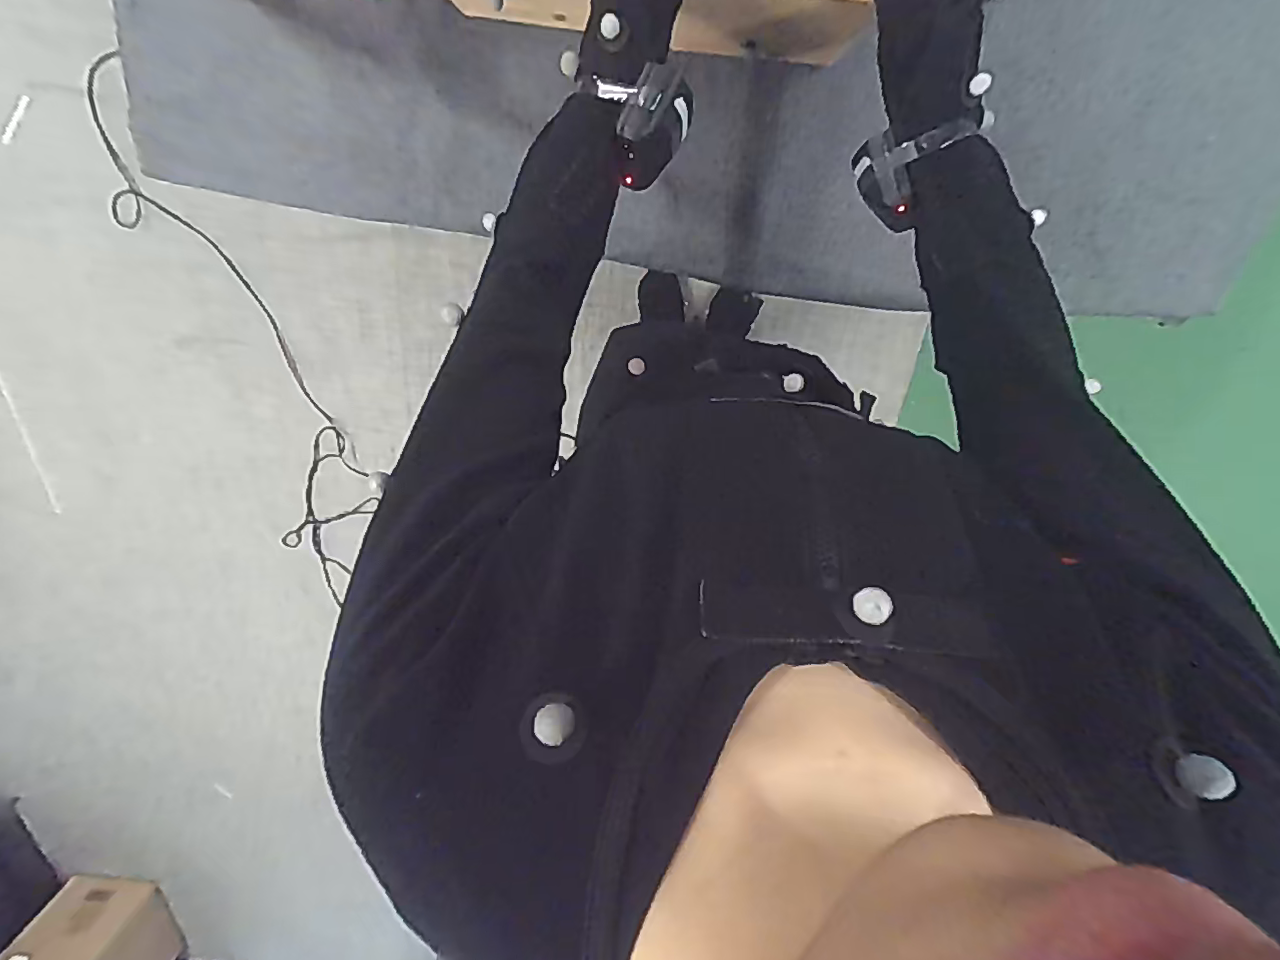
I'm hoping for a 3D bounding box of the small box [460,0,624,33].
[{"bbox_3d":[-0.094,-0.500,0.436,0.168,0.176,0.179,8,114,0],"label":"small box"}]
